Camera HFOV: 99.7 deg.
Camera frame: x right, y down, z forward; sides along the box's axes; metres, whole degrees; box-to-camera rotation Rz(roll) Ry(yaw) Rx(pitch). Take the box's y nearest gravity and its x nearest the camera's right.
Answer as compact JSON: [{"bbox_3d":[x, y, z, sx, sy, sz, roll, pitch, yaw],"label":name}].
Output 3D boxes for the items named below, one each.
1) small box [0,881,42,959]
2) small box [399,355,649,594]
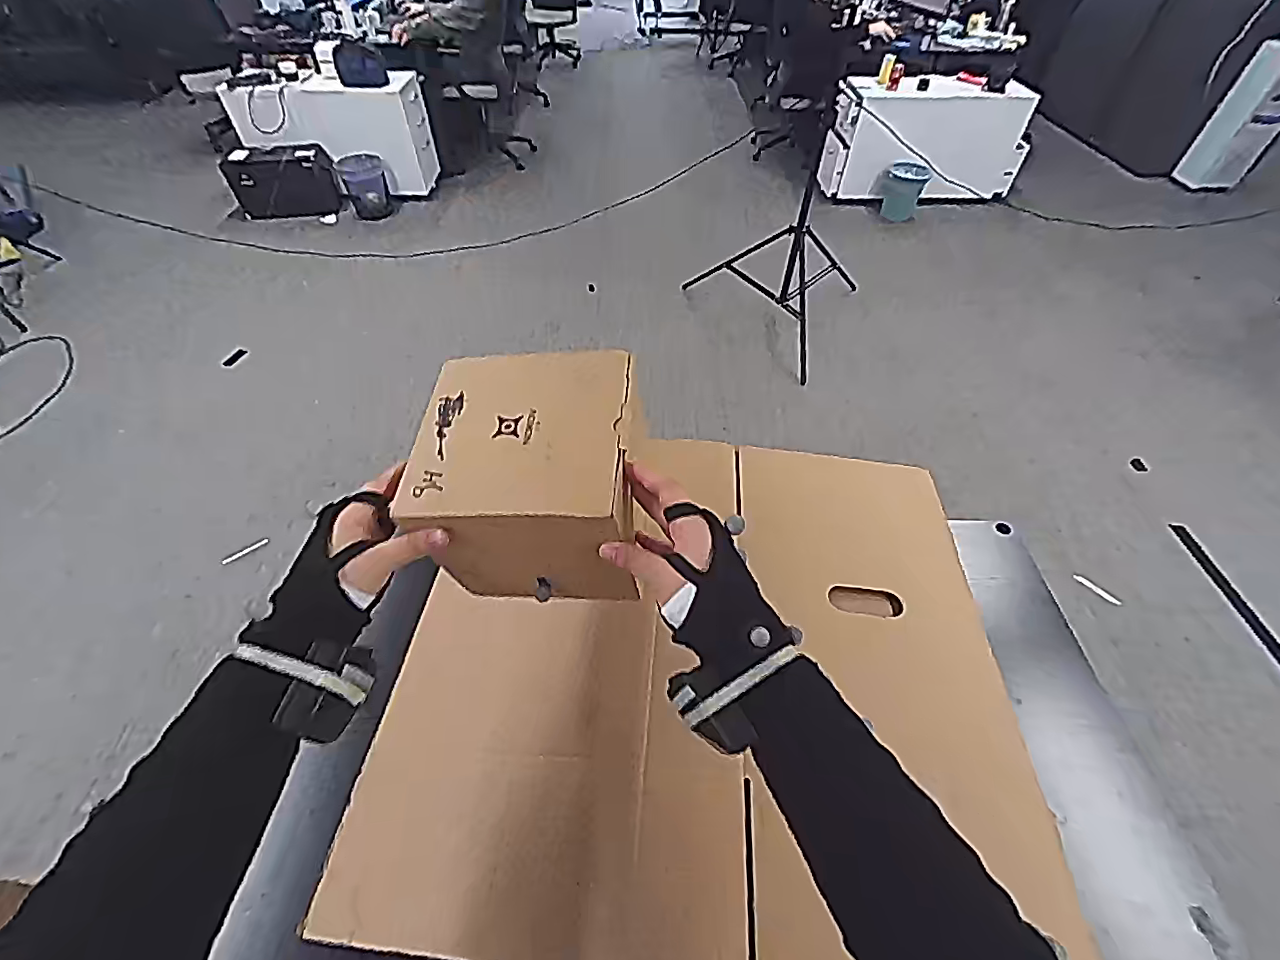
[{"bbox_3d":[-1.224,0.810,0.935,0.168,0.176,0.179,-4,48,-5],"label":"small box"},{"bbox_3d":[-0.087,0.000,0.517,0.179,0.176,0.168,0,56,8],"label":"small box"}]
